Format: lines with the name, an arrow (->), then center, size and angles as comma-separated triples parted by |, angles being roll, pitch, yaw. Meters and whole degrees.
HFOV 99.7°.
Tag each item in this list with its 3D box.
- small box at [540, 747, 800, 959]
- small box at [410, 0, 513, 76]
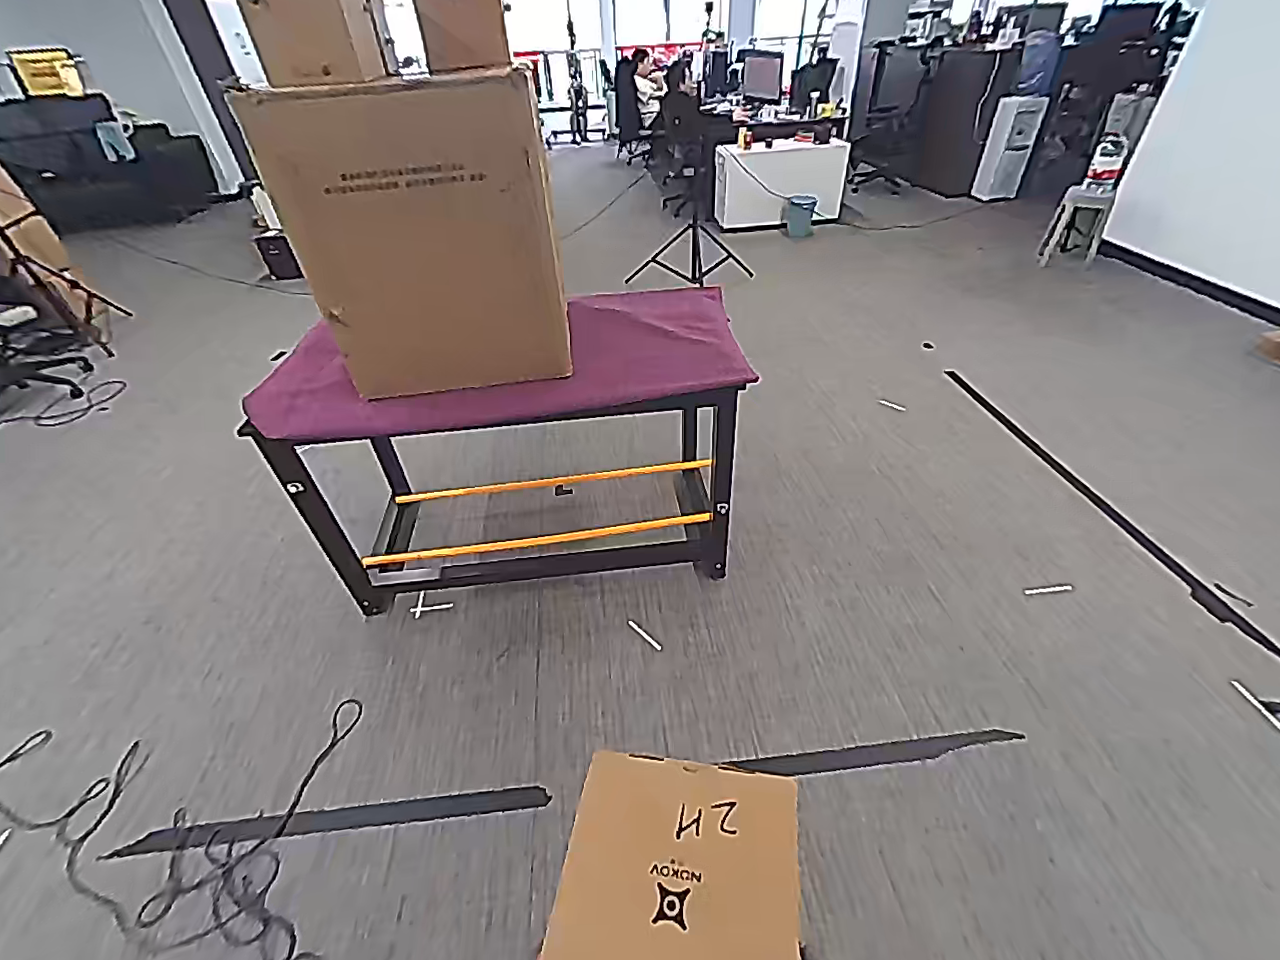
small box -> 0.036, 0.341, 0.416 | 0.168, 0.176, 0.179 | 1, 39, 13
small box -> -0.370, -0.966, 1.134 | 0.179, 0.176, 0.168 | -9, 40, -4
